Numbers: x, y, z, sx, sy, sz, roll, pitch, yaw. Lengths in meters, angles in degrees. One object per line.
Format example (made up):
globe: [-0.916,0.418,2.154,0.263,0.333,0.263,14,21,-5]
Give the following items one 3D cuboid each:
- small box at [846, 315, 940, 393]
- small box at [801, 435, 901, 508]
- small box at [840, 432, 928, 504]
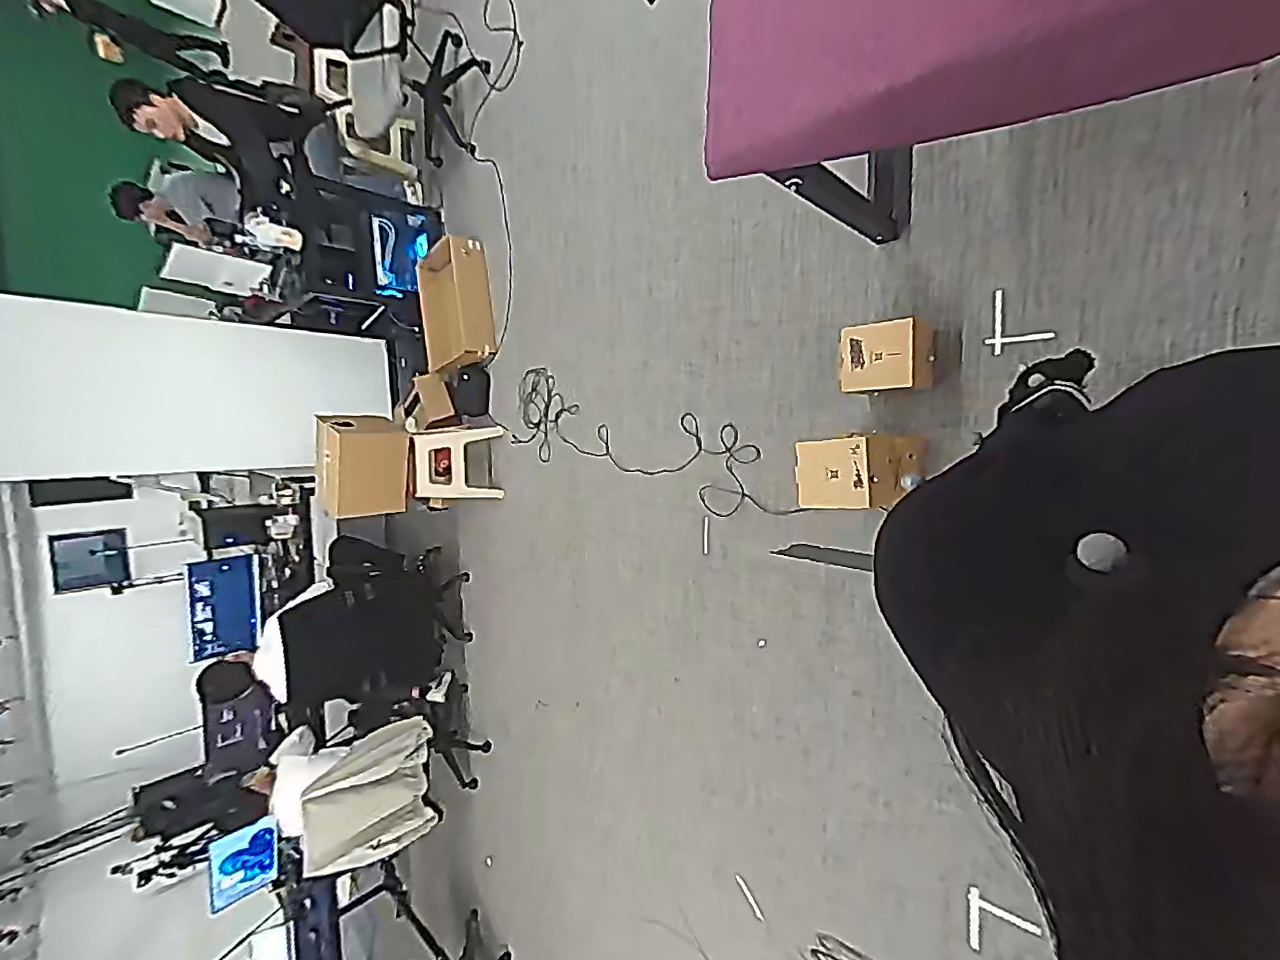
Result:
small box: [0.648,-0.314,1.384,0.179,0.176,0.168,2,96,43]
small box: [0.516,-0.021,1.320,0.179,0.176,0.168,-2,92,45]
small box: [0.639,-0.038,1.427,0.179,0.176,0.168,12,101,45]
